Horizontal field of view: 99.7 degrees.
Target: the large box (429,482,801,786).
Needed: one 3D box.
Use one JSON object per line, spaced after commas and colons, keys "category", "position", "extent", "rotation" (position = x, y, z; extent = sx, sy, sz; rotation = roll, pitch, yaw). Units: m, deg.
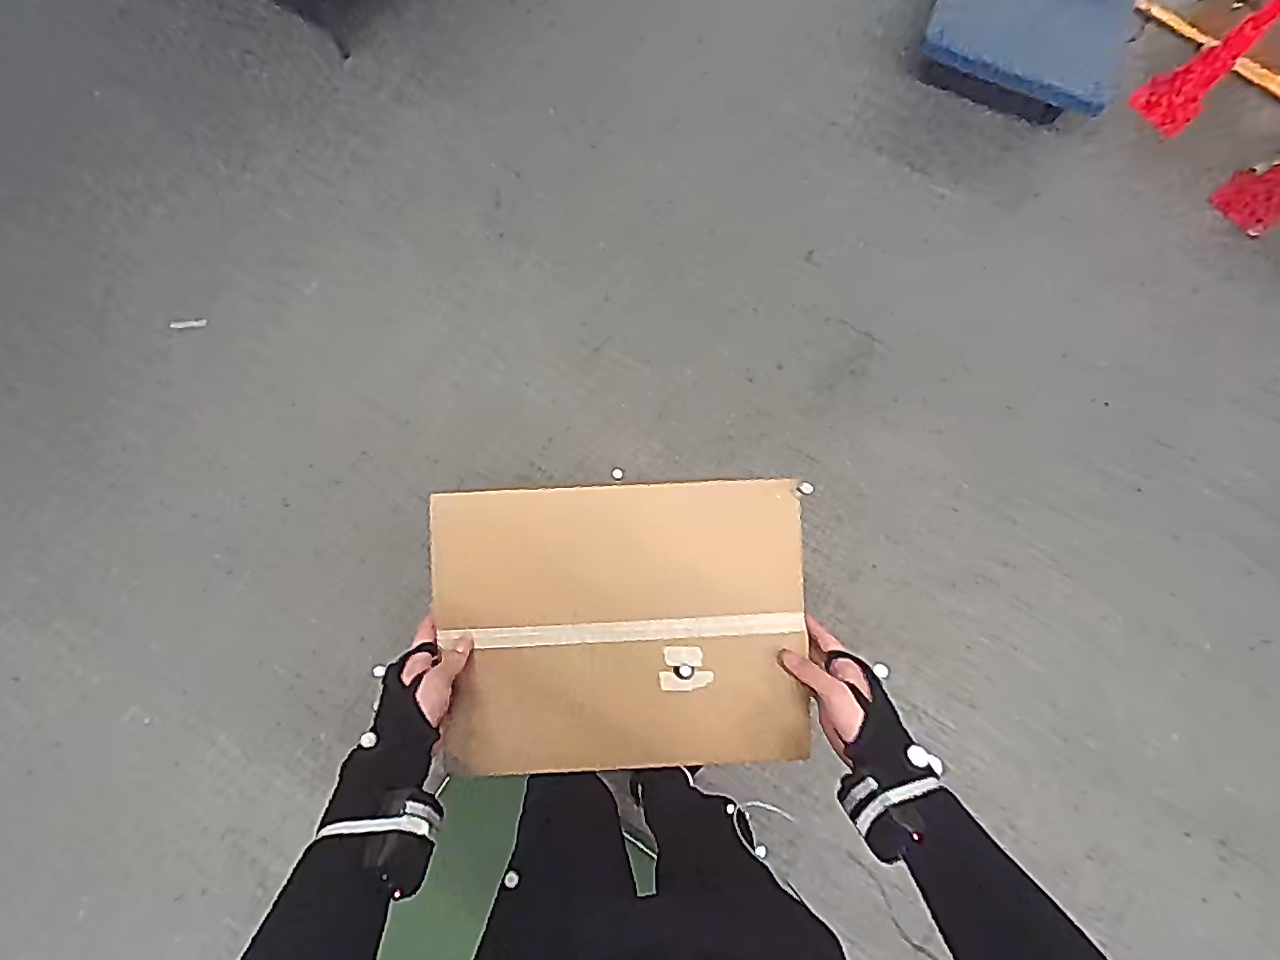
{"category": "large box", "position": [-0.032, 0.173, 0.753], "extent": [0.408, 0.320, 0.320], "rotation": [-4, 91, -2]}
